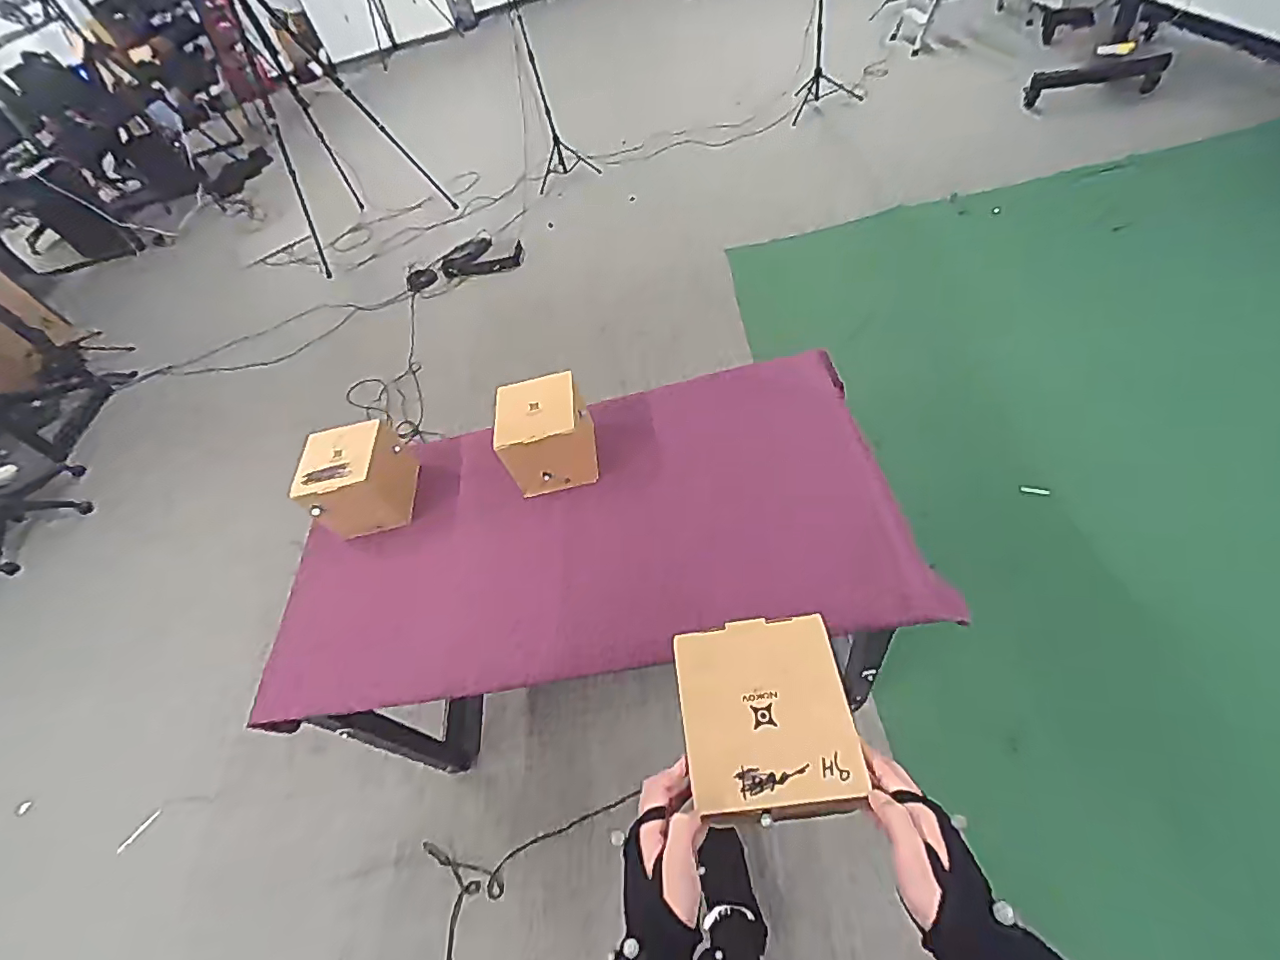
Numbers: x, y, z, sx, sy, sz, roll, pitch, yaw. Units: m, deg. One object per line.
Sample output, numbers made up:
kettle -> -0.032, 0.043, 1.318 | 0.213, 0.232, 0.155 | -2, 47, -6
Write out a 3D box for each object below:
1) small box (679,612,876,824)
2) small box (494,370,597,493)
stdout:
small box -> 0.141, 0.270, 0.603 | 0.168, 0.176, 0.179 | -10, 54, 7
small box -> -0.192, -0.099, 1.136 | 0.168, 0.176, 0.179 | -12, 52, 4
